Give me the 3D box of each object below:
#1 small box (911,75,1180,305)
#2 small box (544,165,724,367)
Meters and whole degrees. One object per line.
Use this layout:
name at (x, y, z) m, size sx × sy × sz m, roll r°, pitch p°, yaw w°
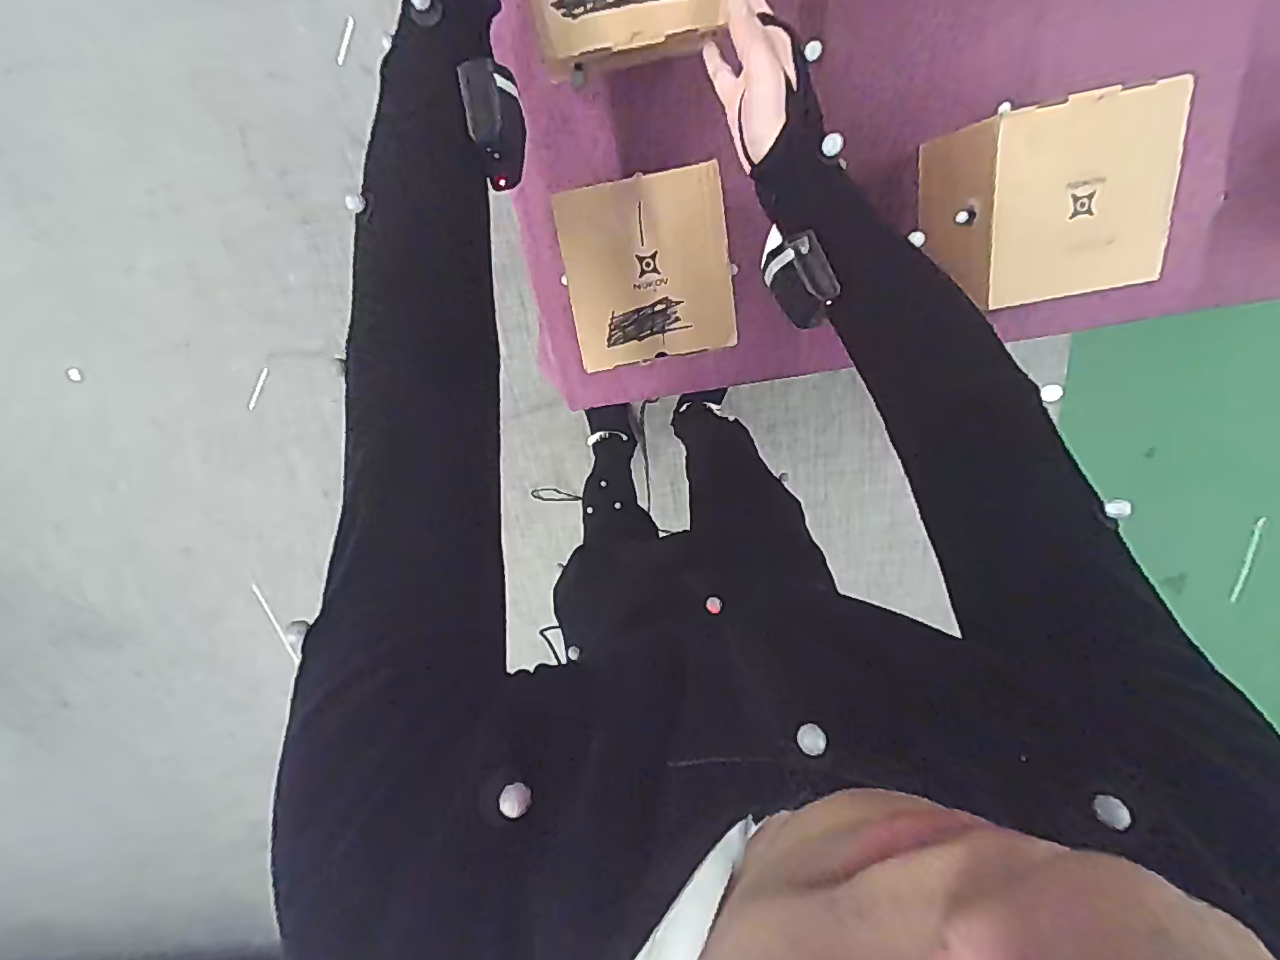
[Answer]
small box at (0.412, -0.299, 0.588) m, size 0.168 × 0.176 × 0.179 m, roll -8°, pitch 113°, yaw 7°
small box at (0.002, -0.244, 0.627) m, size 0.168 × 0.176 × 0.179 m, roll -8°, pitch 112°, yaw 6°
